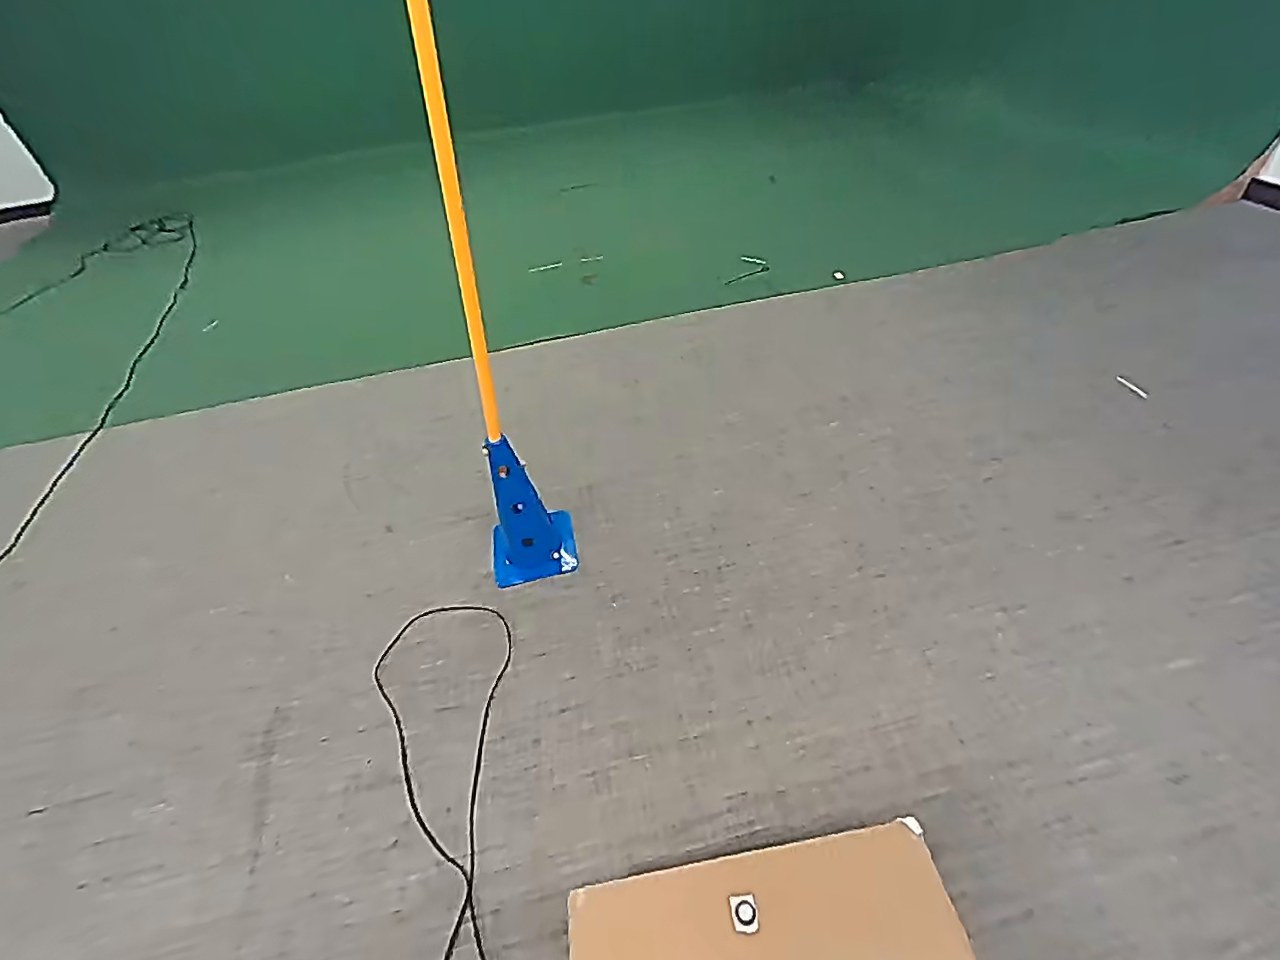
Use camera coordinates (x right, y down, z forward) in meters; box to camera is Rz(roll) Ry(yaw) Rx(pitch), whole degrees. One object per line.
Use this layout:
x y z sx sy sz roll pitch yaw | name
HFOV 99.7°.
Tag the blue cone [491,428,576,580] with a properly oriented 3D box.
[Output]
-0.271 0.033 1.206 0.193 0.380 0.192 -13 46 -8 | blue cone
